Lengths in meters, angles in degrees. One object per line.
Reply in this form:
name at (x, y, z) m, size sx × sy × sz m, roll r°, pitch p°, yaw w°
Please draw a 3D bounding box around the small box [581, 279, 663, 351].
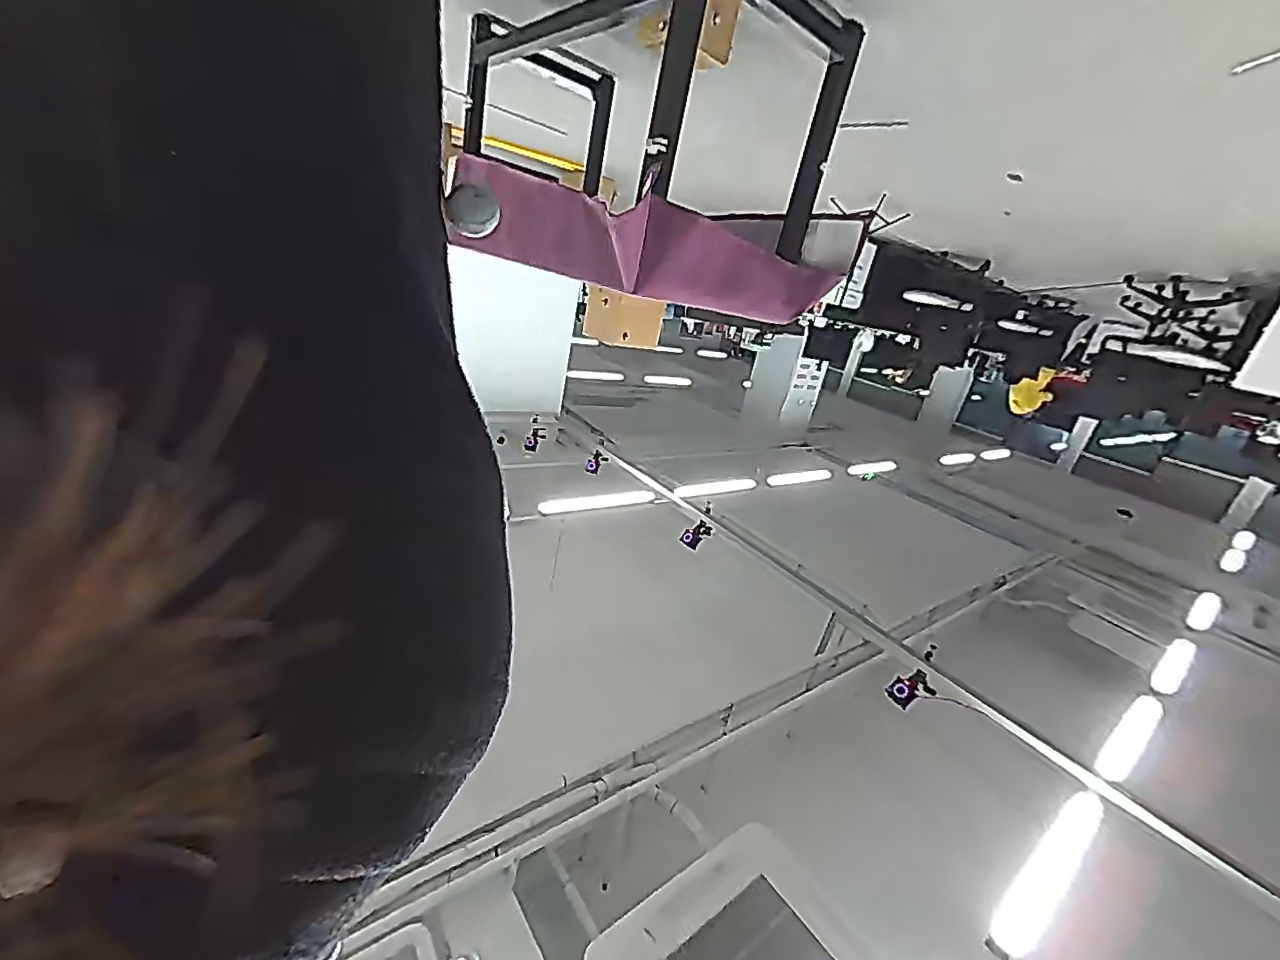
small box at (-0.052, -0.502, 1.641) m, size 0.179 × 0.176 × 0.168 m, roll -5°, pitch -153°, yaw -39°
